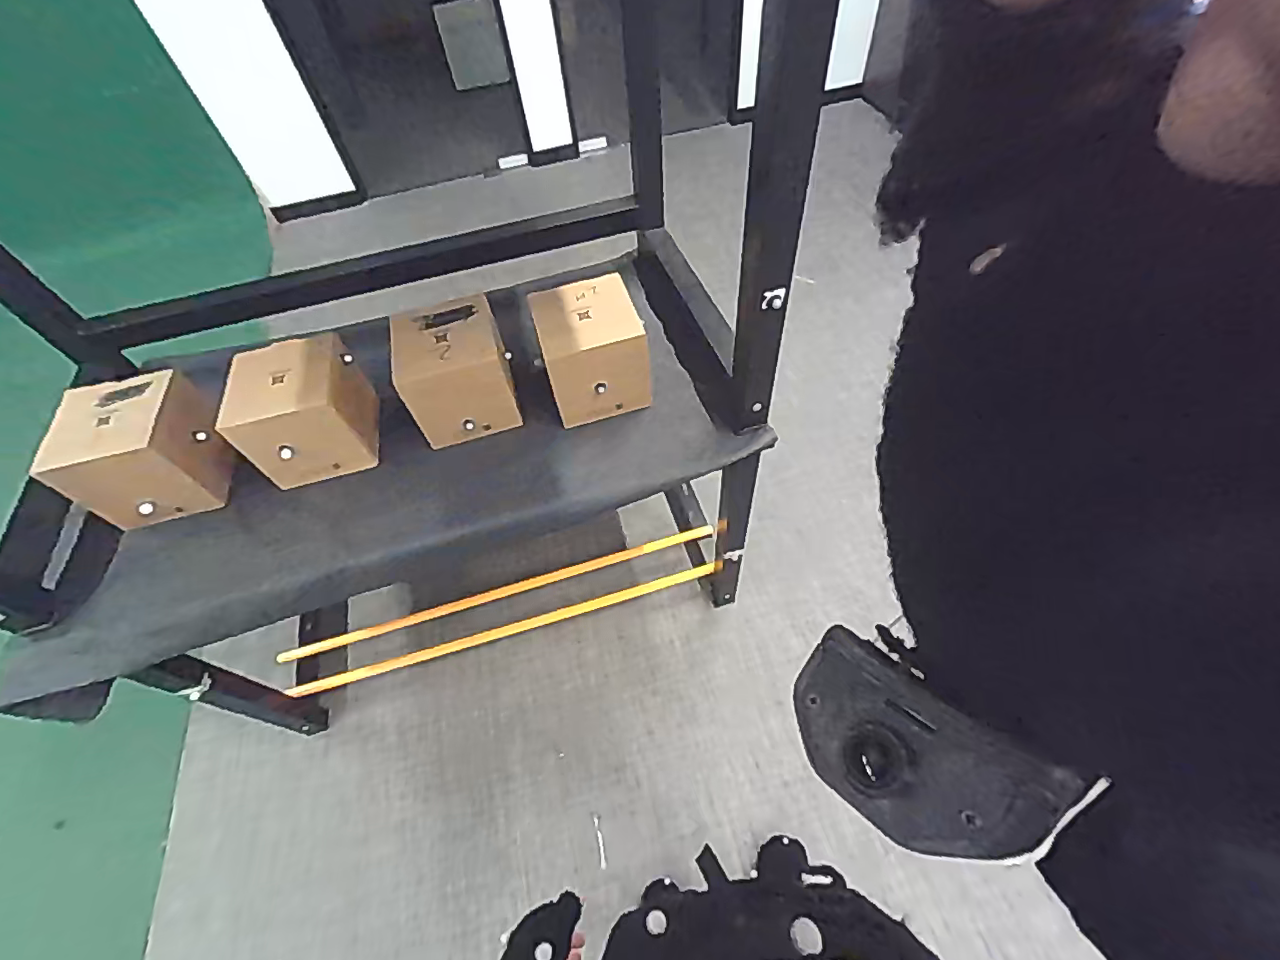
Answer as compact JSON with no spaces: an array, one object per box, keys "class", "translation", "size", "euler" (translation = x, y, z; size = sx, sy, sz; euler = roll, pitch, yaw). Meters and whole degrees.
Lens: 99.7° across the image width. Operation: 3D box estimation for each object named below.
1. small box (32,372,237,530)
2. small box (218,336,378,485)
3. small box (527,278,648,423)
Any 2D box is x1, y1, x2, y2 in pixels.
[{"class":"small box","translation":[-0.808,-0.046,0.893],"size":[0.168,0.176,0.179],"euler":[-15,56,-5]},{"class":"small box","translation":[-0.565,-0.110,0.921],"size":[0.168,0.176,0.179],"euler":[-15,55,-6]},{"class":"small box","translation":[-0.088,-0.219,0.953],"size":[0.168,0.176,0.179],"euler":[-15,55,-6]}]
